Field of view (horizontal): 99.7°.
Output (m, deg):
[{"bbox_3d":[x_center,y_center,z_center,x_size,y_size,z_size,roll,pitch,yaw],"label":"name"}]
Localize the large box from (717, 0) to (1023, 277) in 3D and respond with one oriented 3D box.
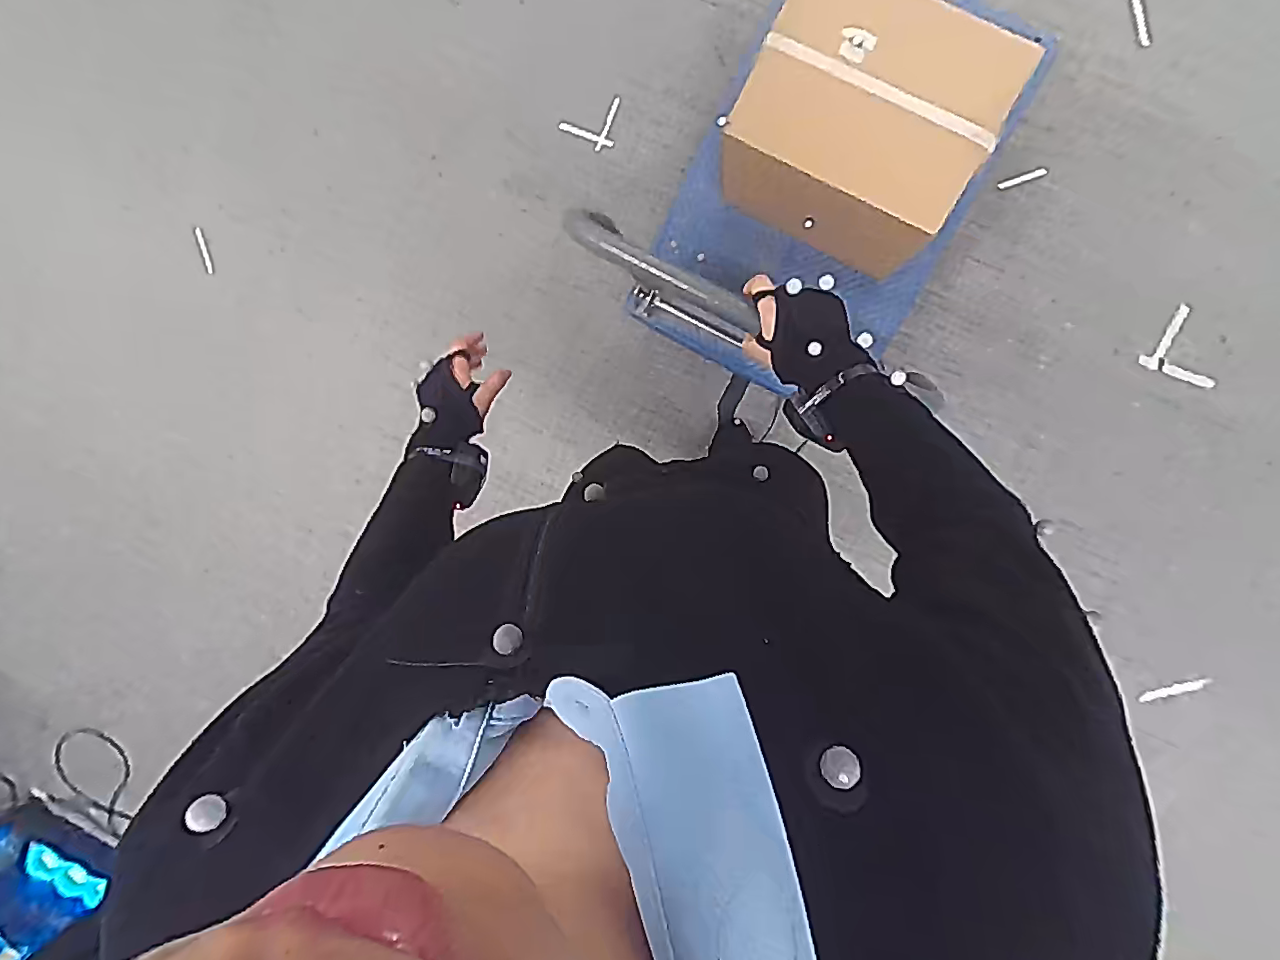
[{"bbox_3d":[0.403,-0.654,1.057,0.408,0.320,0.320,29,98,5],"label":"large box"}]
